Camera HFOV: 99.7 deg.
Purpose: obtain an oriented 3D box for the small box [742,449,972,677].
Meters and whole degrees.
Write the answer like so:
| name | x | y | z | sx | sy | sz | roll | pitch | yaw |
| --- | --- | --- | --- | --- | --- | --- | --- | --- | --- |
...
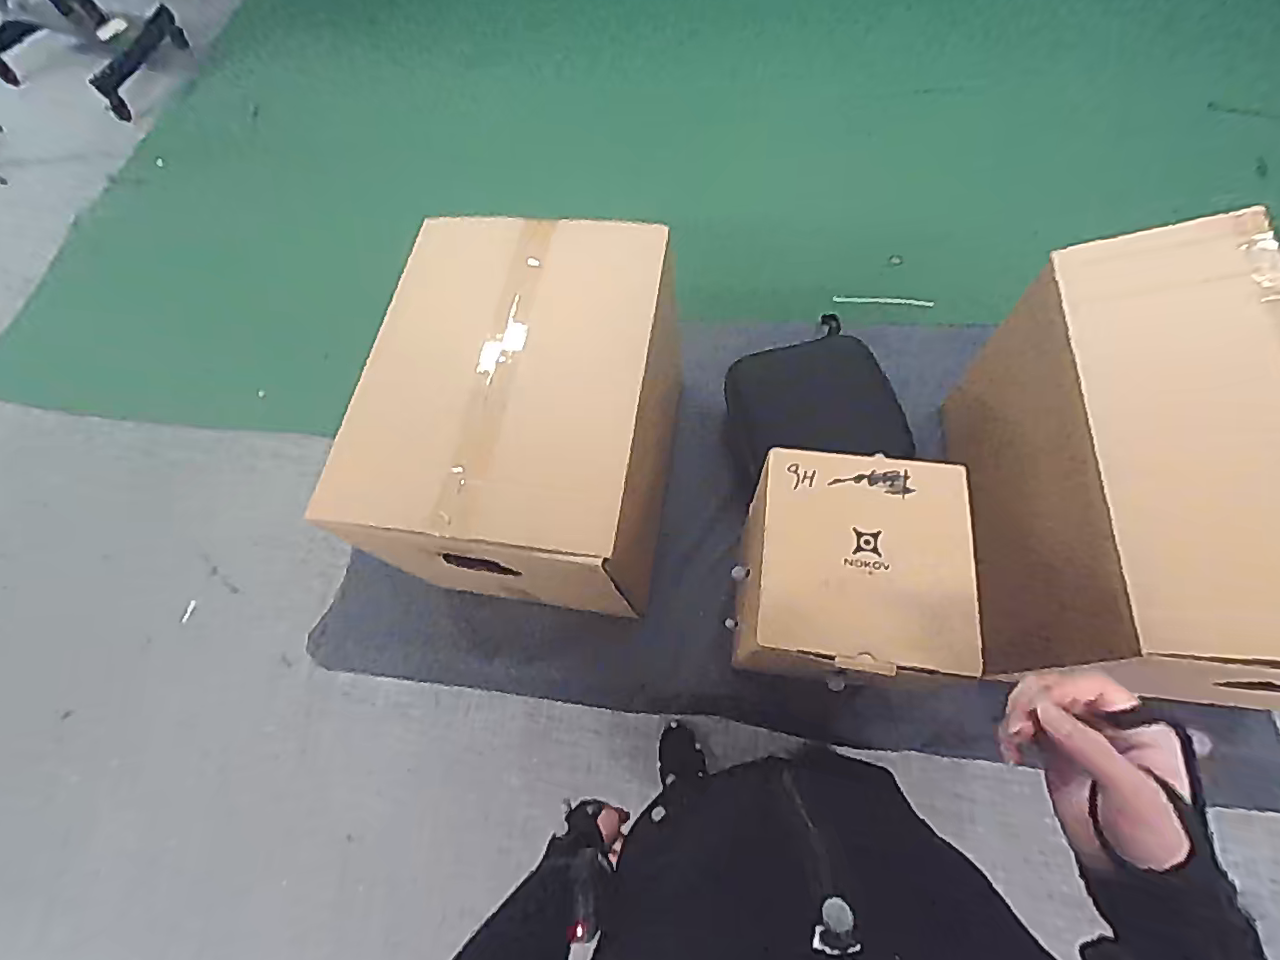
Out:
| name | x | y | z | sx | sy | sz | roll | pitch | yaw |
| --- | --- | --- | --- | --- | --- | --- | --- | --- | --- |
| small box | 0.191 | 0.088 | 0.521 | 0.168 | 0.176 | 0.179 | 6 | 70 | 7 |
